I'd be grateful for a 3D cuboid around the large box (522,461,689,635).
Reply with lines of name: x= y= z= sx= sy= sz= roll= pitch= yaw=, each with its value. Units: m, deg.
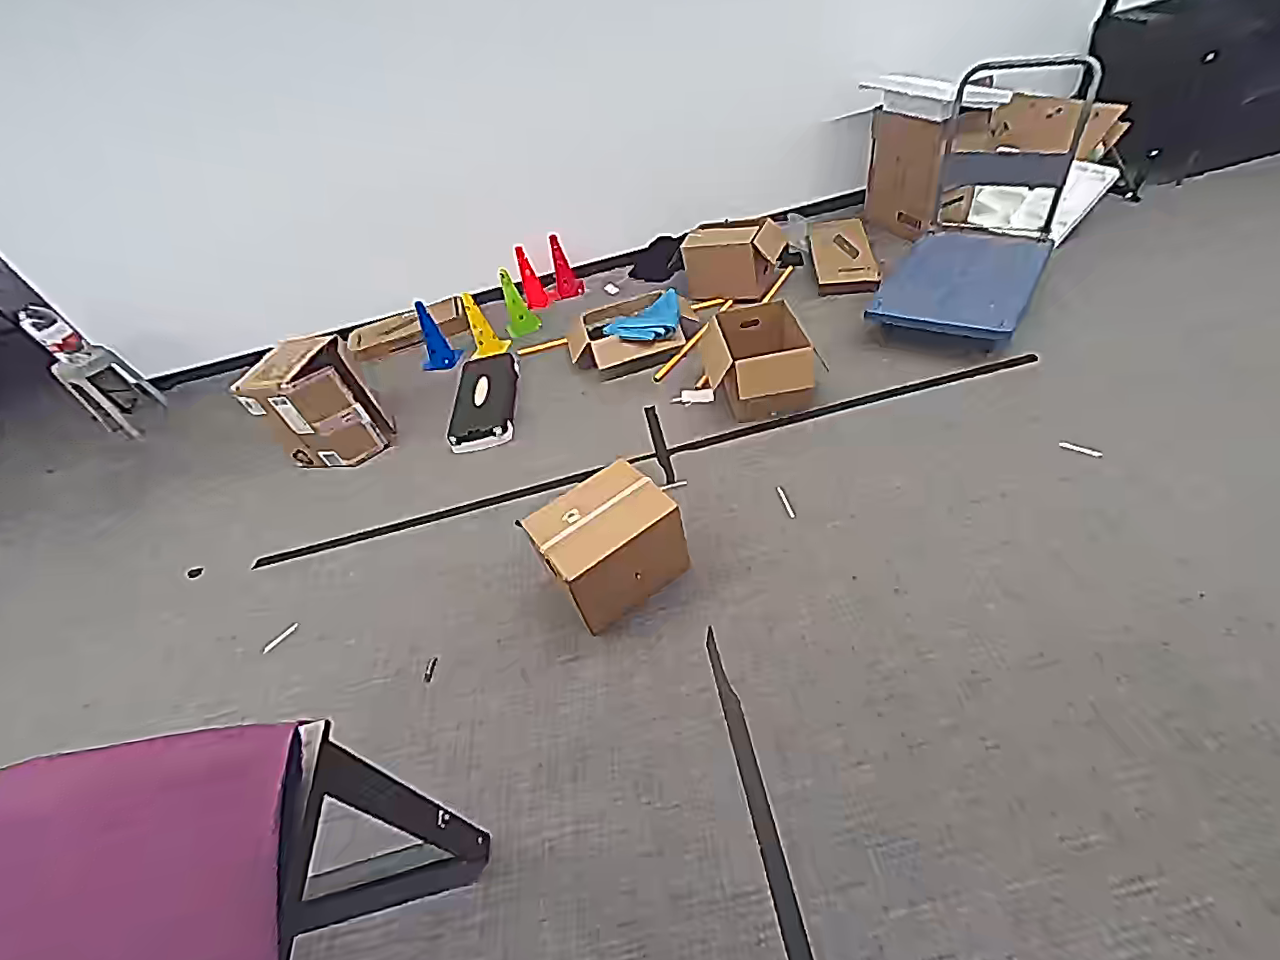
large box: x=-0.098 y=0.216 z=1.761 sx=0.408 sy=0.320 sz=0.320 roll=-34 pitch=46 yaw=-18
